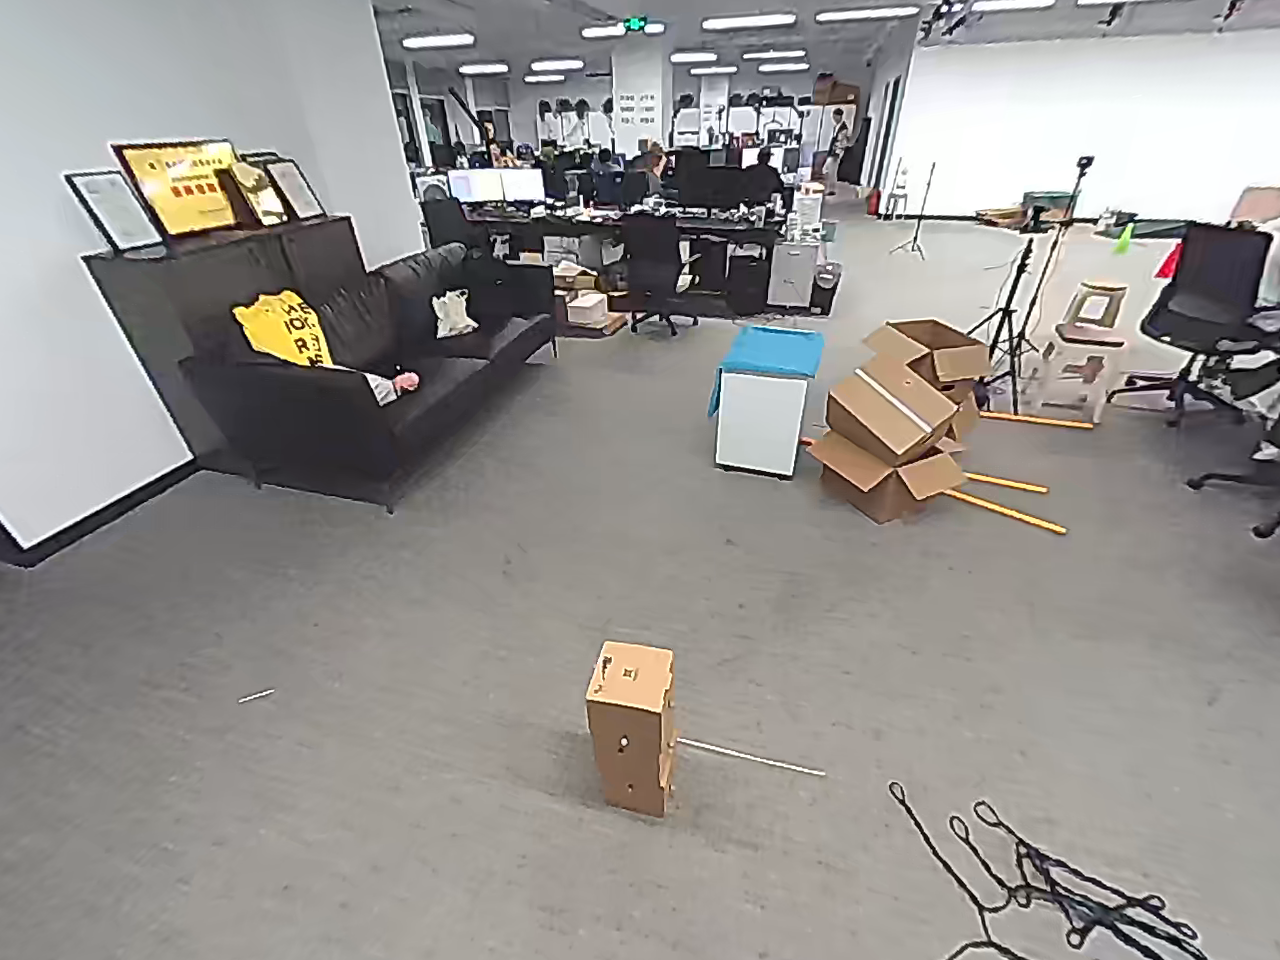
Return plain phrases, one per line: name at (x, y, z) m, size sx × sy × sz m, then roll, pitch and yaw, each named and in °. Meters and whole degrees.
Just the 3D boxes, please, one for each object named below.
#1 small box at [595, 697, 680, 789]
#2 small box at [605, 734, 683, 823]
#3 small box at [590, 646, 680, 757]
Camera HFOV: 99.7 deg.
small box at (0.000, 0.654, 1.381) m, size 0.179 × 0.176 × 0.168 m, roll 7°, pitch 35°, yaw 14°
small box at (0.016, 0.794, 1.467) m, size 0.179 × 0.176 × 0.168 m, roll 7°, pitch 34°, yaw 14°
small box at (-0.006, 0.525, 1.279) m, size 0.179 × 0.176 × 0.168 m, roll 6°, pitch 34°, yaw 12°
